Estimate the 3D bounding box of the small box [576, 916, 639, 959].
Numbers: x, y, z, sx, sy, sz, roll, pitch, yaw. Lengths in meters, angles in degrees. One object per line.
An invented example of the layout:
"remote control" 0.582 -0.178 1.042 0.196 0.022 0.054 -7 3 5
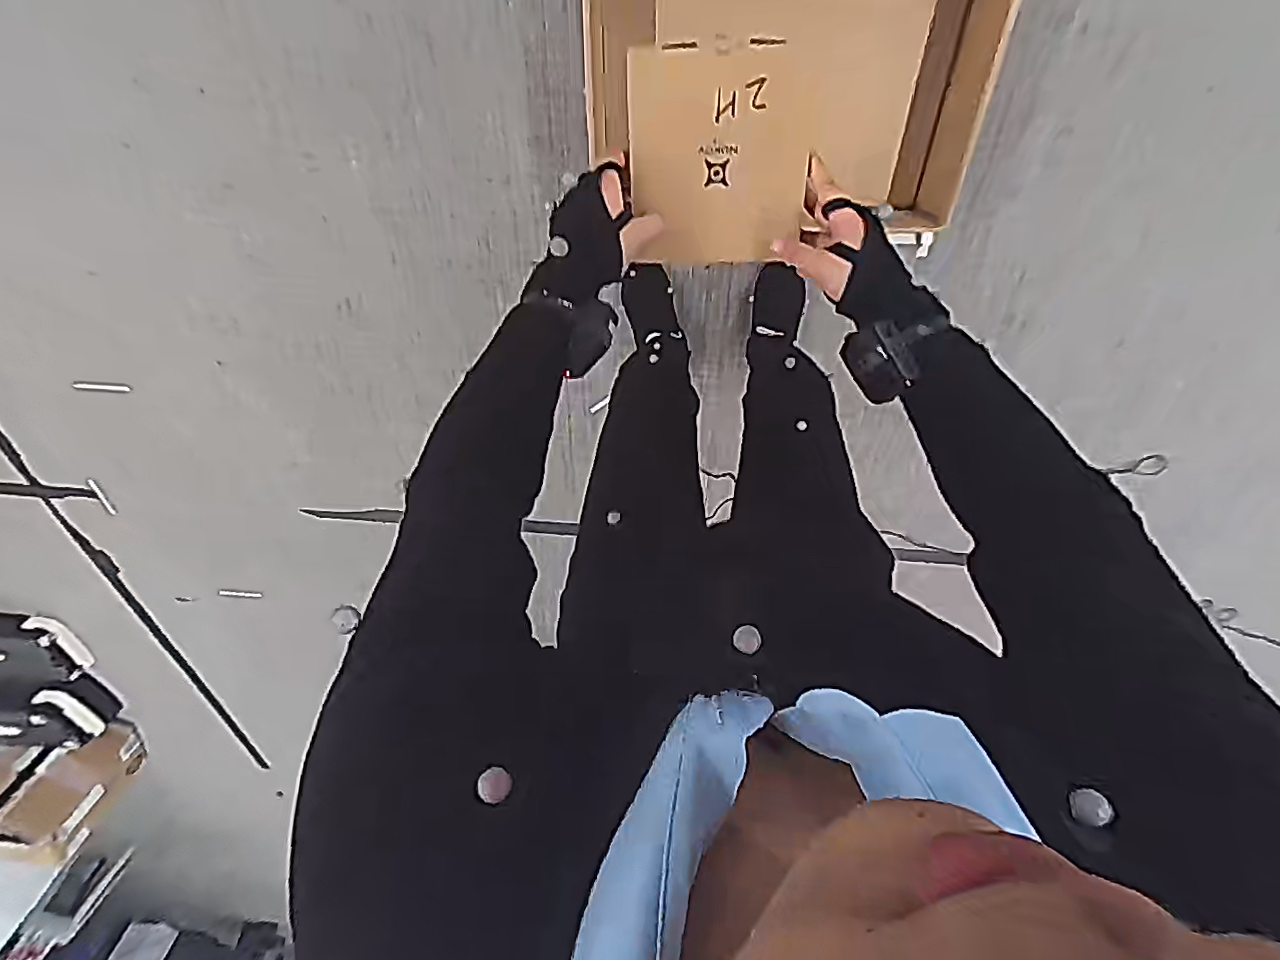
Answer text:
"small box" -0.091 1.340 1.491 0.168 0.176 0.179 4 126 1
